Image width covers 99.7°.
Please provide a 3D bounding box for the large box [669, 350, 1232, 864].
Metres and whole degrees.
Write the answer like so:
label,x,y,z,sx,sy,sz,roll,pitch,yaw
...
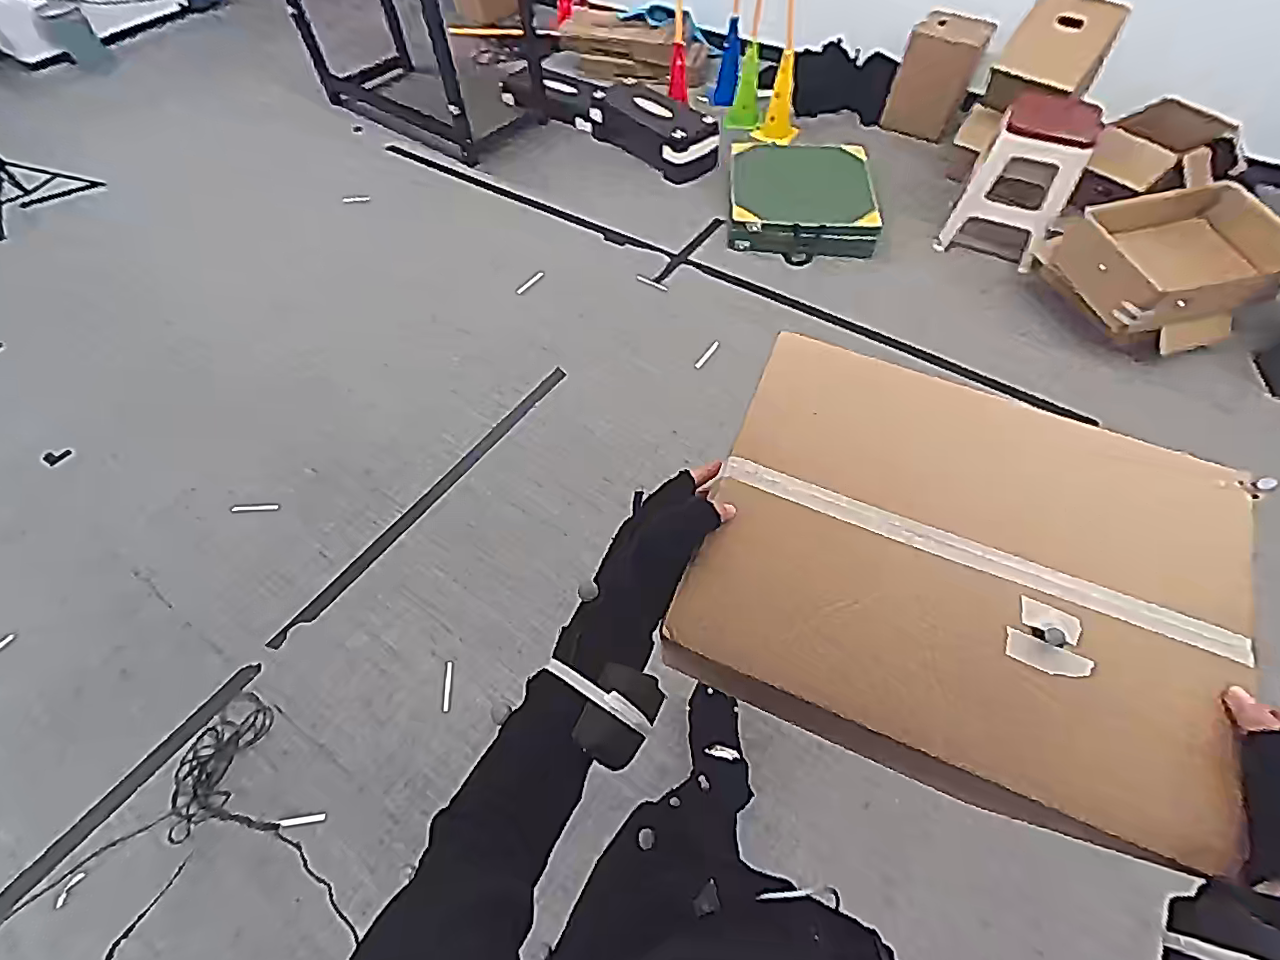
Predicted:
label,x,y,z,sx,sy,sz,roll,pitch,yaw
large box,0.269,0.122,0.588,0.408,0.320,0.320,21,71,11
